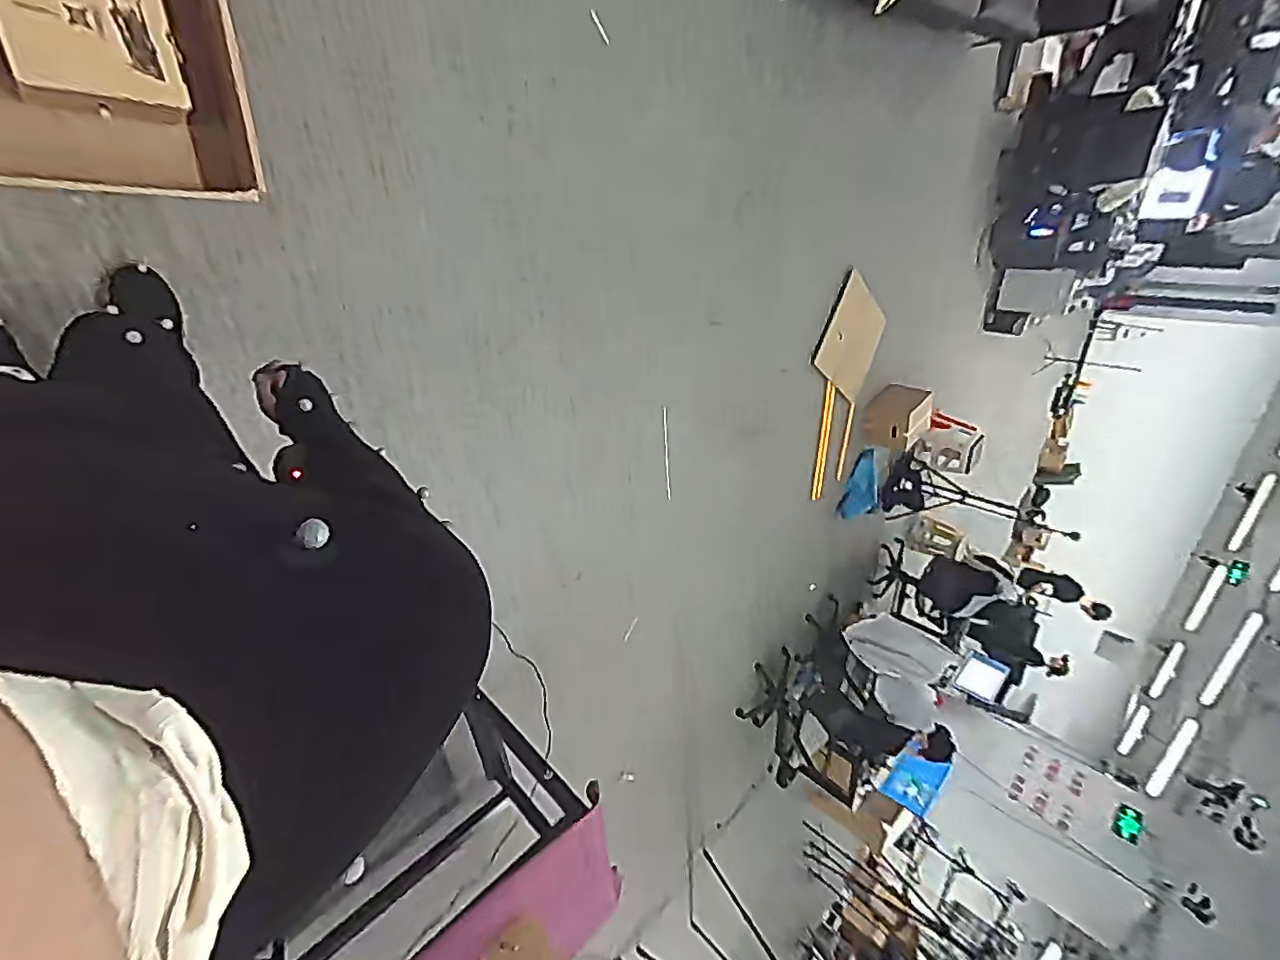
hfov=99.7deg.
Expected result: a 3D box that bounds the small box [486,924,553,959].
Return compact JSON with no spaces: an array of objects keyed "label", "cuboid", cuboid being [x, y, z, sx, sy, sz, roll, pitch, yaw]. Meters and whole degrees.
[{"label":"small box","cuboid":[-0.320,1.387,1.486,0.168,0.176,0.179,-27,125,-38]}]
